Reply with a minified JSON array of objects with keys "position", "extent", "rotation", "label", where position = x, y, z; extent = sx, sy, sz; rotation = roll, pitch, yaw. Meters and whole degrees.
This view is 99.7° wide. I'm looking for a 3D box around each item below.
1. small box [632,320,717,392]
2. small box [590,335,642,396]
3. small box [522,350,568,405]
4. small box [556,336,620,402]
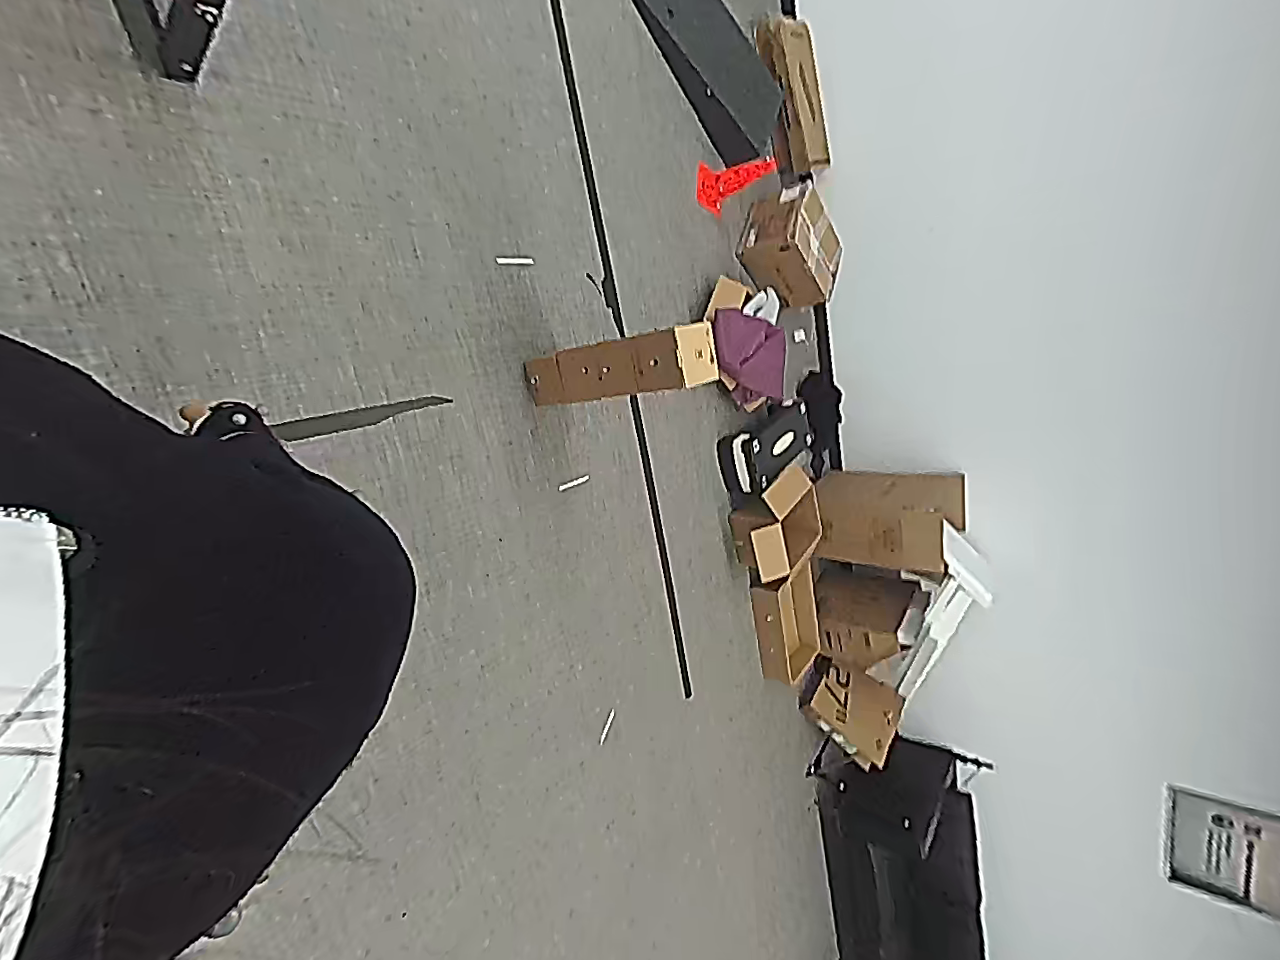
[{"position":[0.093,-0.354,1.551],"extent":[0.179,0.176,0.168],"rotation":[-24,109,-45],"label":"small box"},{"position":[-0.027,-0.355,1.663],"extent":[0.179,0.176,0.168],"rotation":[-21,106,-46],"label":"small box"},{"position":[-0.276,-0.365,1.878],"extent":[0.179,0.176,0.168],"rotation":[-31,113,-42],"label":"small box"},{"position":[-0.153,-0.361,1.770],"extent":[0.168,0.176,0.179],"rotation":[-26,110,-45],"label":"small box"}]
